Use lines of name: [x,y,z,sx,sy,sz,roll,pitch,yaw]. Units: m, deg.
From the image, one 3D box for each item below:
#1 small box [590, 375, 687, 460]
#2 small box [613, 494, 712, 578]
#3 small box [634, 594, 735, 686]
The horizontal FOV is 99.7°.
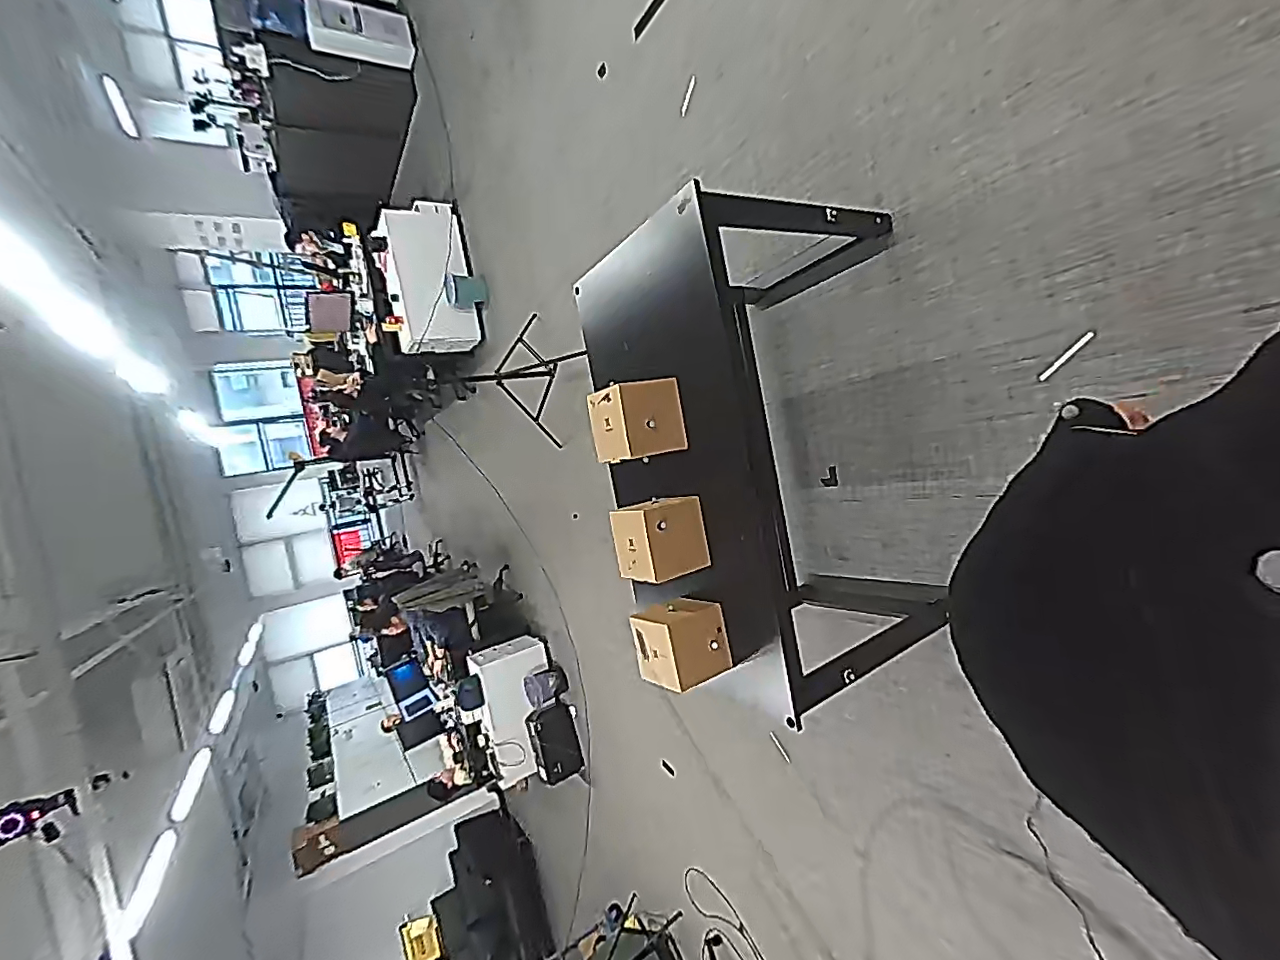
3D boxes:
small box: [-0.001,-0.155,1.343,0.168,0.176,0.179,-4,98,58]
small box: [0.057,0.132,1.355,0.168,0.176,0.179,-8,94,59]
small box: [0.111,0.393,1.365,0.179,0.176,0.168,-11,92,58]
